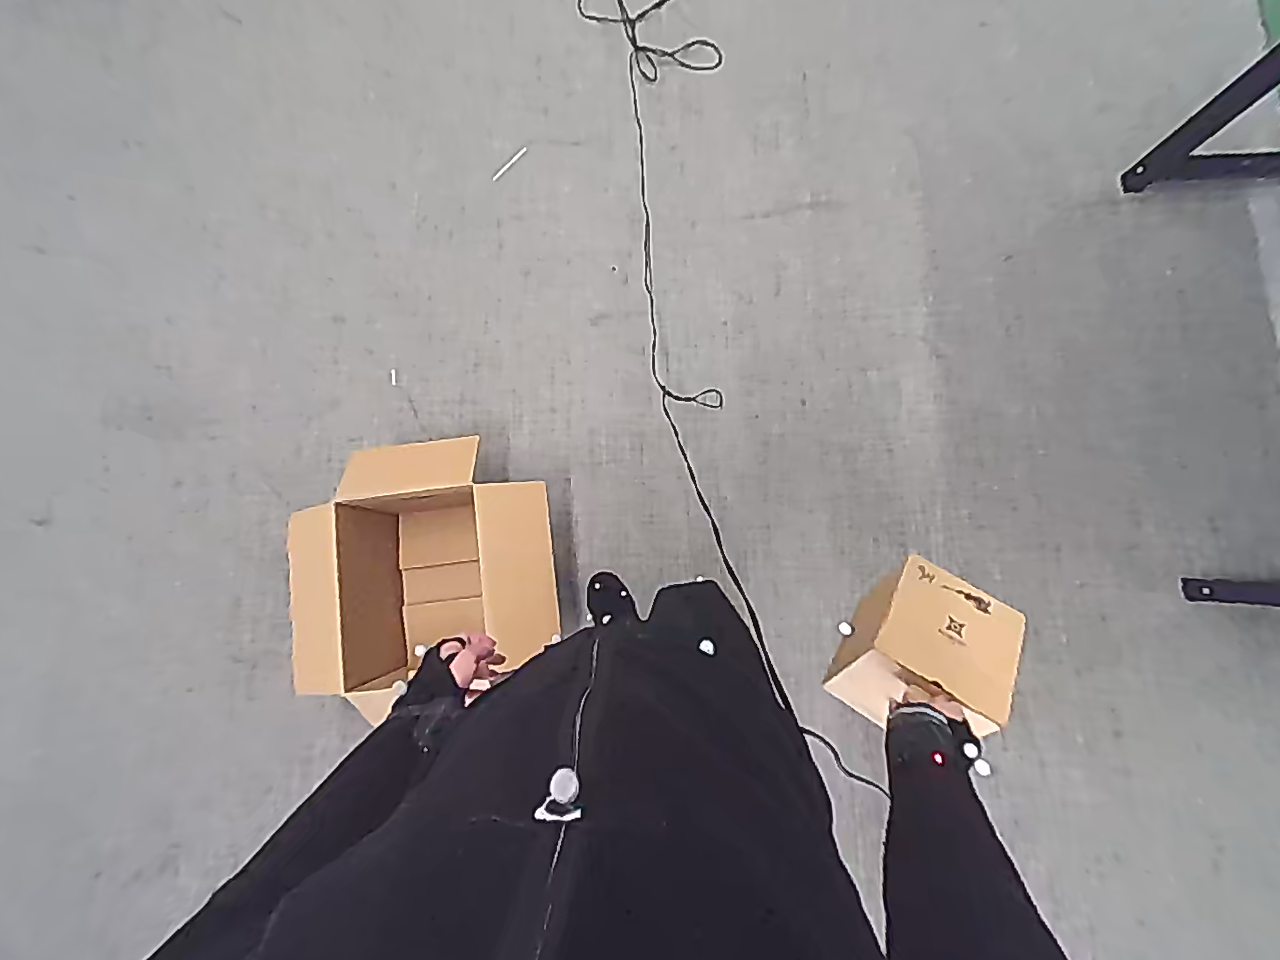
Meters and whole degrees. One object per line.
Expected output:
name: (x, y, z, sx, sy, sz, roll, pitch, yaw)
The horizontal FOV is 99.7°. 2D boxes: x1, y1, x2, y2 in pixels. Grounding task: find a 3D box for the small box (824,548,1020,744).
small box: (0.382, 0.237, 0.758, 0.168, 0.176, 0.179, 32, 55, 15)
